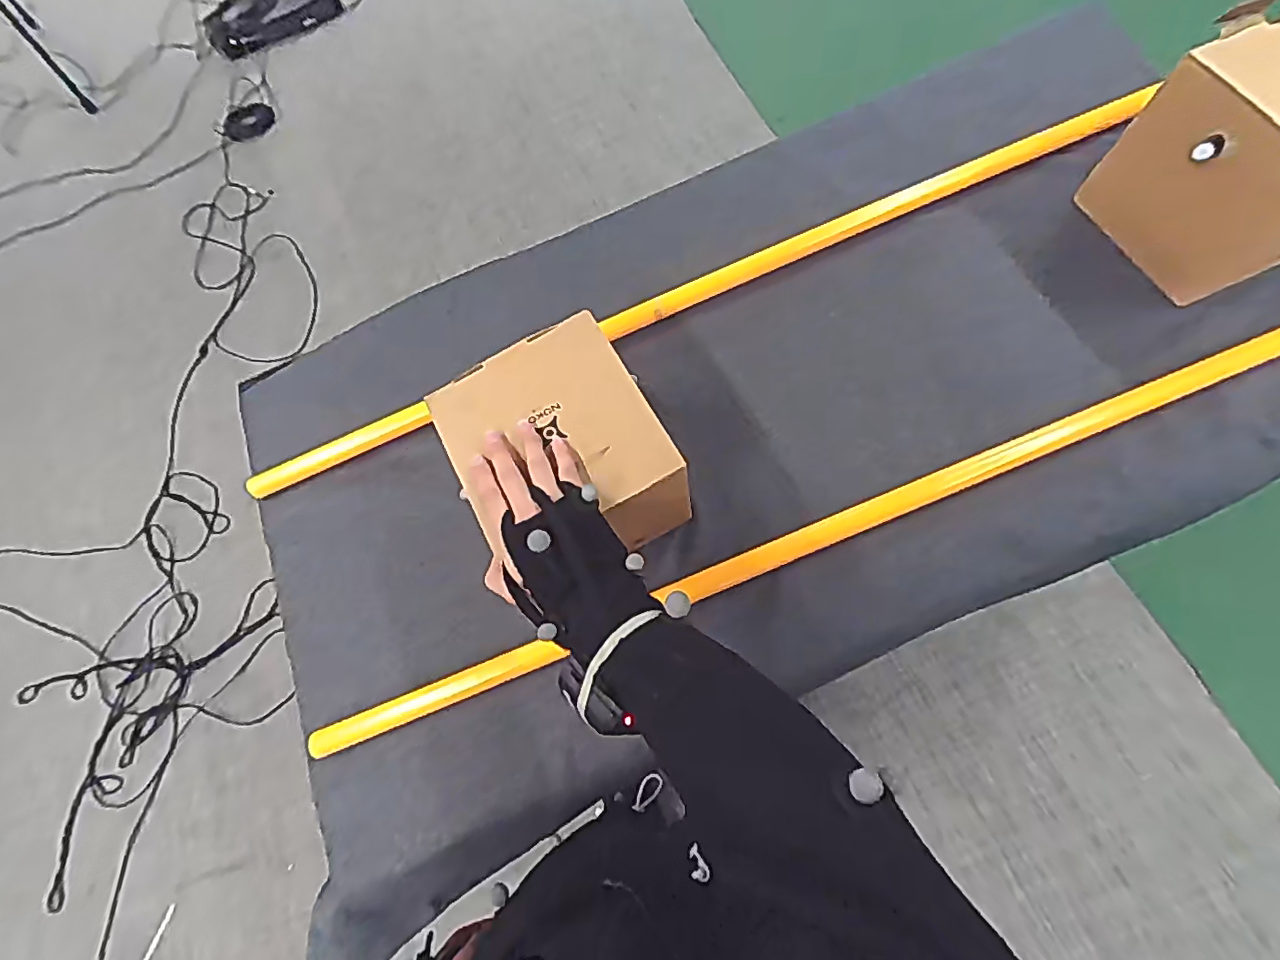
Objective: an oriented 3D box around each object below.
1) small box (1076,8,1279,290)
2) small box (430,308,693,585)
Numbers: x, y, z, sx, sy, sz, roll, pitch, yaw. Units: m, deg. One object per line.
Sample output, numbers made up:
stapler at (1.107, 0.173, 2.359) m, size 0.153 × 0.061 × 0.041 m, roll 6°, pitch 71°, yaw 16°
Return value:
small box at (0.601, -0.317, 0.532) m, size 0.168 × 0.176 × 0.179 m, roll -24°, pitch 69°, yaw 0°
small box at (-0.063, -0.020, 0.519) m, size 0.168 × 0.176 × 0.179 m, roll -31°, pitch 71°, yaw -3°
